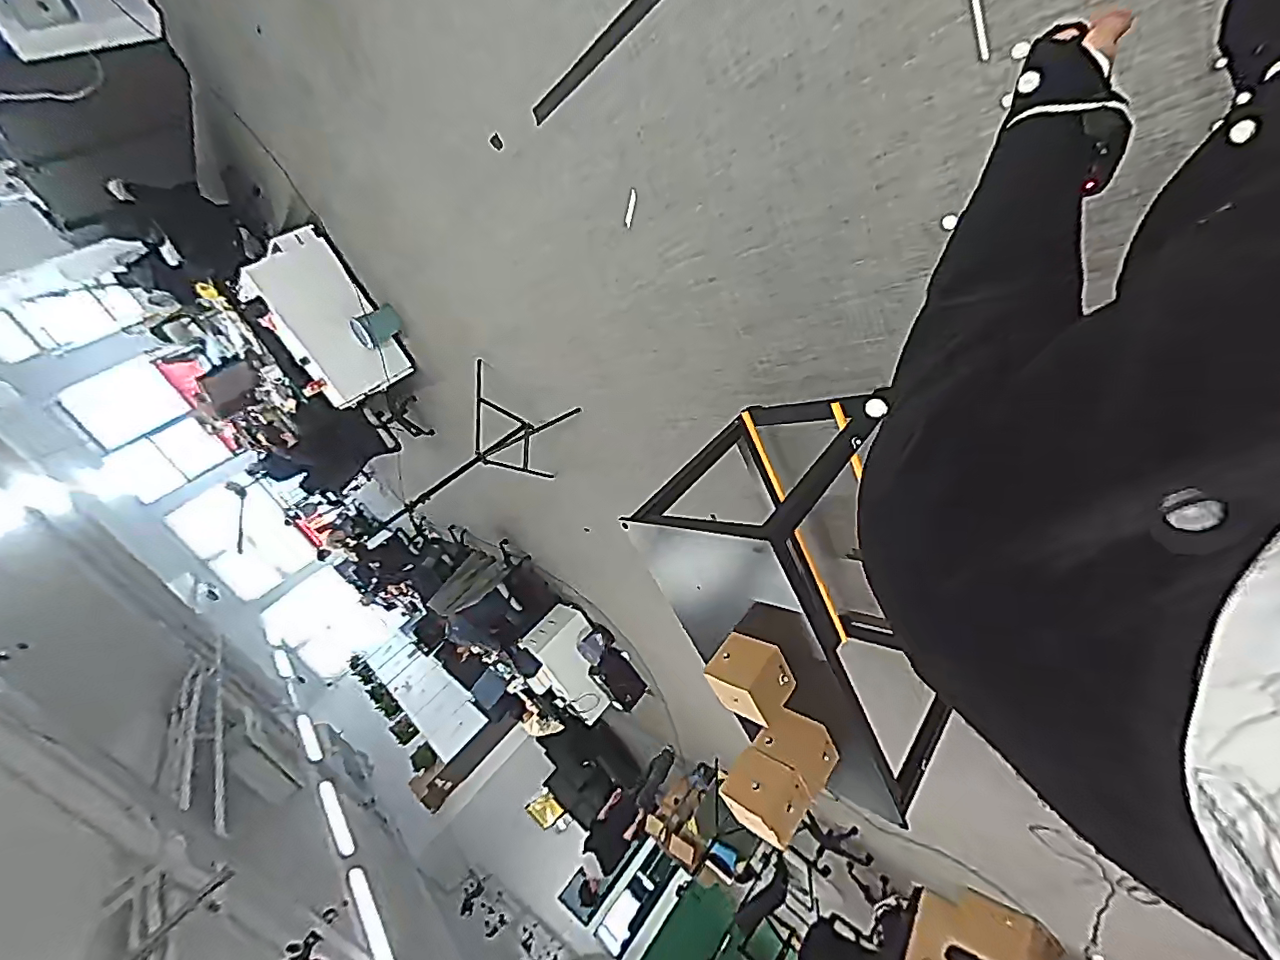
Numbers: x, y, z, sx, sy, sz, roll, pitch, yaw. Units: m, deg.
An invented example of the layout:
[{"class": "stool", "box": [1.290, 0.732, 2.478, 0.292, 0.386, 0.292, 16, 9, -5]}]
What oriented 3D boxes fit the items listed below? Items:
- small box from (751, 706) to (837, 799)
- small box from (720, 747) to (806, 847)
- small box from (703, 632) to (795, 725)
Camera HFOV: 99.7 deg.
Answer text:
[{"class": "small box", "box": [0.490, 0.850, 1.708, 0.179, 0.176, 0.168, 4, 130, 51]}, {"class": "small box", "box": [0.380, 0.949, 1.636, 0.179, 0.176, 0.168, 0, 126, 52]}, {"class": "small box", "box": [0.324, 0.577, 1.599, 0.179, 0.176, 0.168, 1, 128, 52]}]
